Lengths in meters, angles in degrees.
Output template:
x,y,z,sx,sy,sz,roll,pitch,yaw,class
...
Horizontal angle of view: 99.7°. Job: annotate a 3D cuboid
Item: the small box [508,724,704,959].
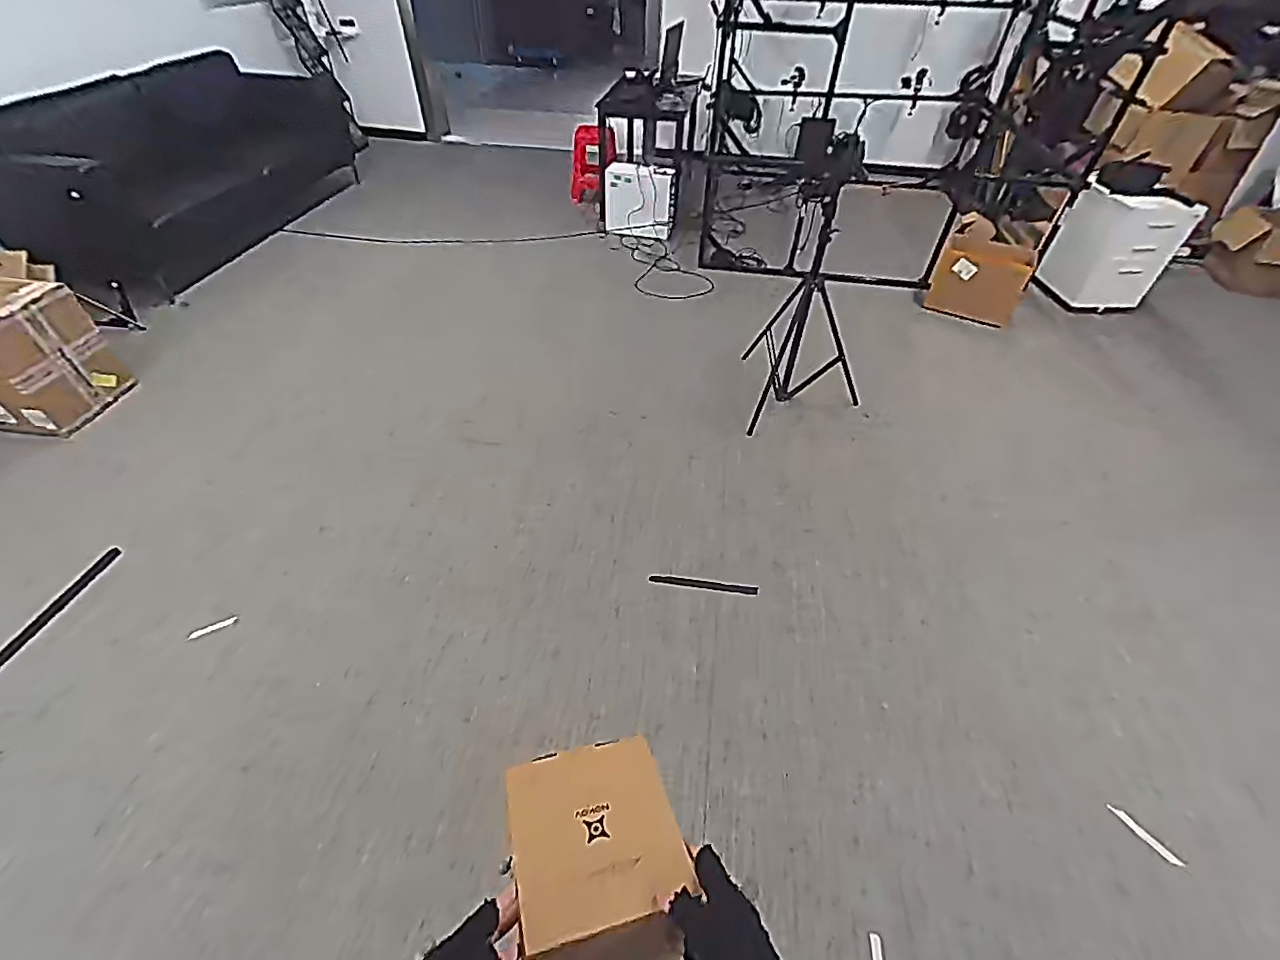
x,y,z,sx,sy,sz,roll,pitch,yaw,class
-0.051,0.405,0.583,0.168,0.176,0.179,-4,30,-19,small box
